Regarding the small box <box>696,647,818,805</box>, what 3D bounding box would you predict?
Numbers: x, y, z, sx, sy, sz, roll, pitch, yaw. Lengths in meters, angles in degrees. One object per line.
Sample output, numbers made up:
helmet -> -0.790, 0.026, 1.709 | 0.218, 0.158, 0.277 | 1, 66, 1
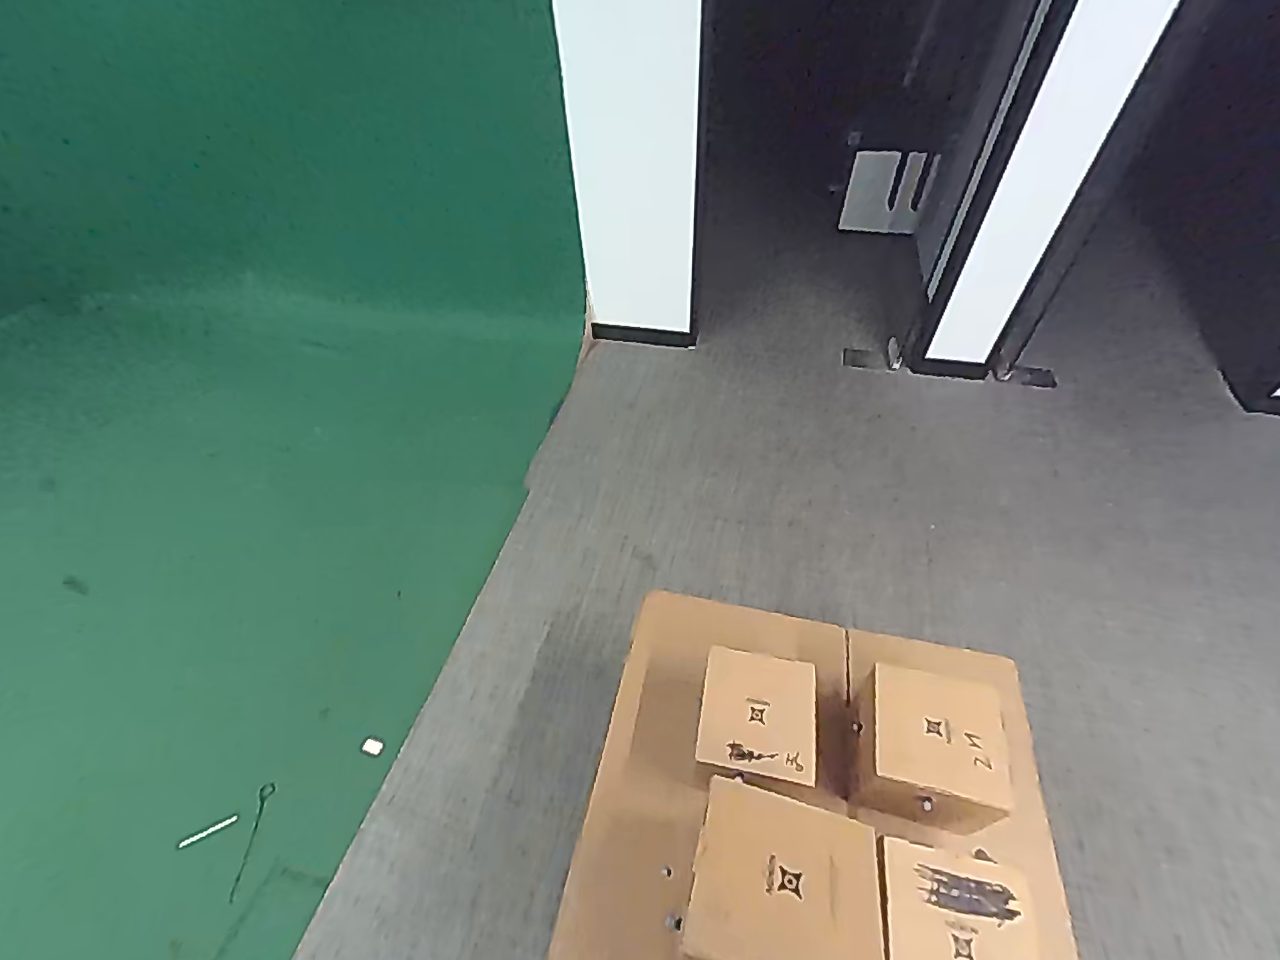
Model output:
small box -> 0.180, 0.391, 0.846 | 0.168, 0.176, 0.179 | 6, 48, 11

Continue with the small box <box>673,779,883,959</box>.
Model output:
small box -> 0.132, 0.452, 0.549 | 0.179, 0.176, 0.168 | 12, 30, 13

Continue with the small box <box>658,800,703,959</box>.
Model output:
small box -> 0.124, 0.555, 0.708 | 0.168, 0.176, 0.179 | 9, 49, 12
